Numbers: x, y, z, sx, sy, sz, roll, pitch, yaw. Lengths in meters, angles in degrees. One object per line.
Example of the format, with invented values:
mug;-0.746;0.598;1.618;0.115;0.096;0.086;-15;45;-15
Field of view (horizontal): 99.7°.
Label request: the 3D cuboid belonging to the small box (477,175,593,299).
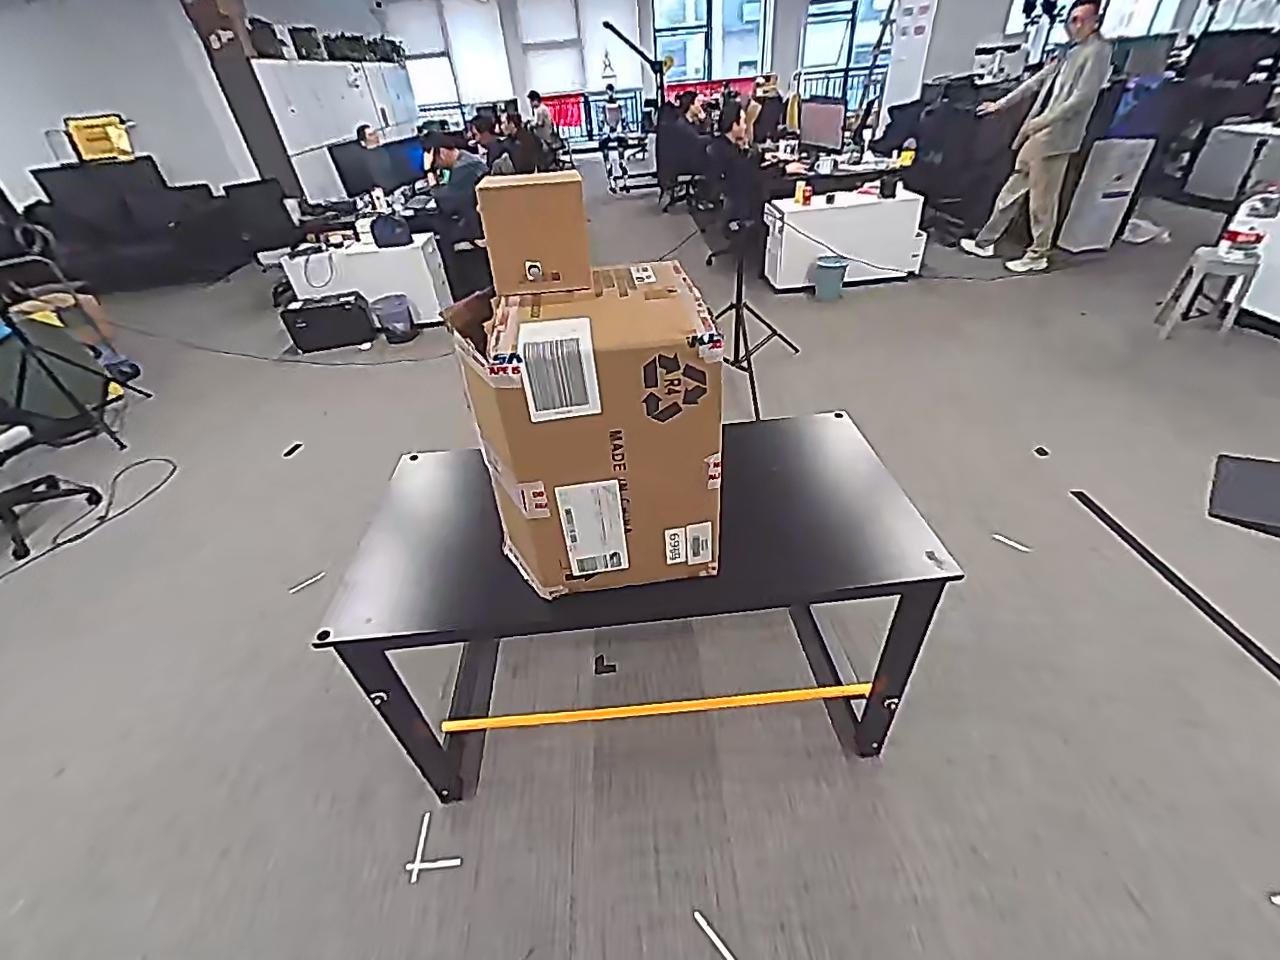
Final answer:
small box;-0.177;-0.426;0.946;0.168;0.176;0.179;-8;35;-5
